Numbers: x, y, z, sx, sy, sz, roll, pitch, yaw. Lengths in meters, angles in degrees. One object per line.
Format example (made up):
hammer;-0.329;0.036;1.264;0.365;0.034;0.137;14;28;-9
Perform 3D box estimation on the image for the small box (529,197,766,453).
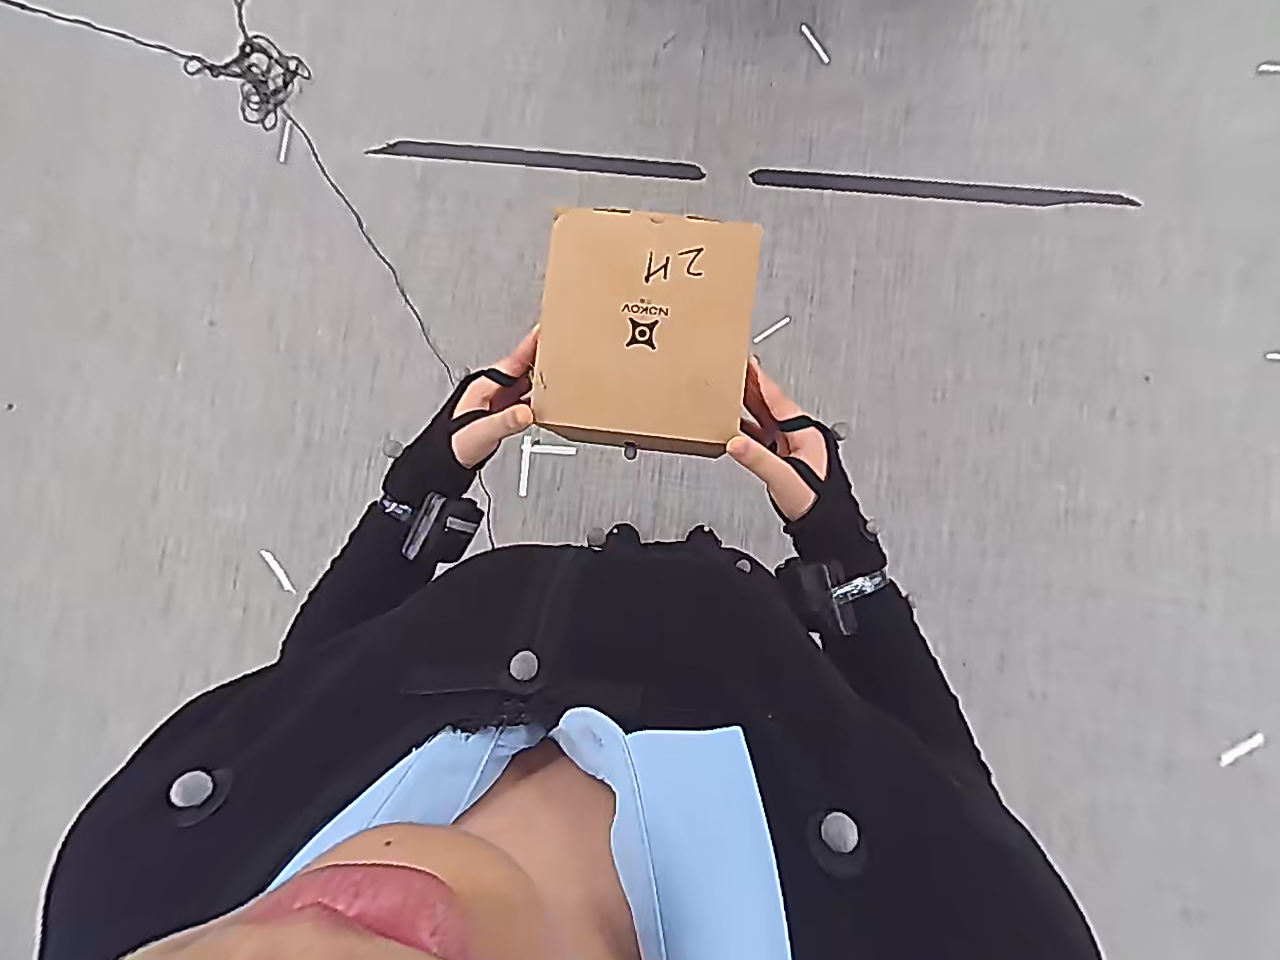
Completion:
small box;0.010;-0.122;0.493;0.168;0.176;0.179;8;89;4
